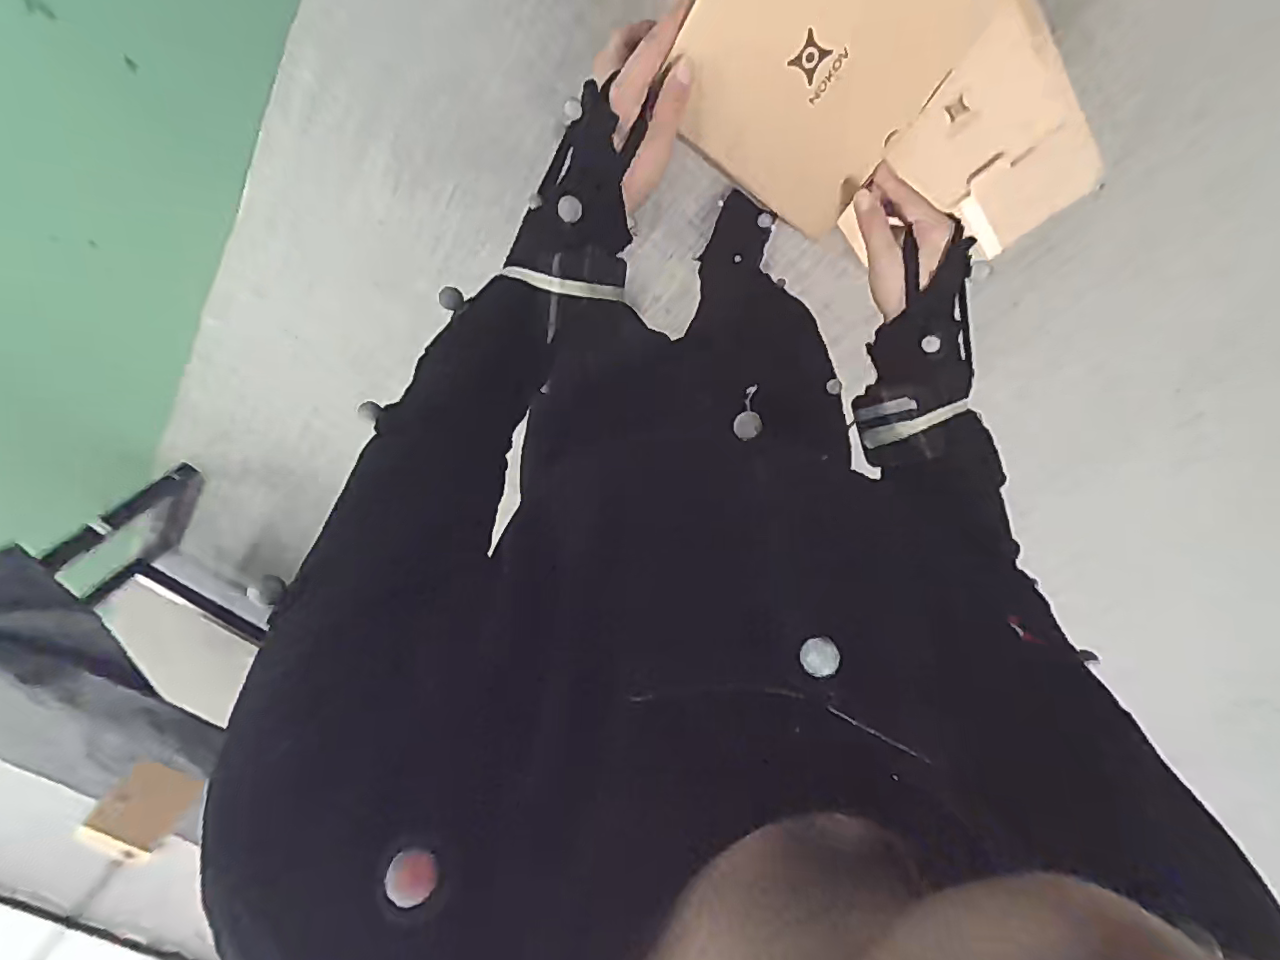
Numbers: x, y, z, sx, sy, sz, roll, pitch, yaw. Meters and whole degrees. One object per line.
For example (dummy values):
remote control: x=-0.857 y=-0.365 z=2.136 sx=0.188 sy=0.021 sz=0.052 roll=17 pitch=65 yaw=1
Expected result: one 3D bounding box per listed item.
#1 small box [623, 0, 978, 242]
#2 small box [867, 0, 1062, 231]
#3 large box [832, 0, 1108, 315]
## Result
small box: x=0.101 y=-0.323 z=0.423 sx=0.179 sy=0.176 sz=0.168 roll=24 pitch=121 yaw=-24
small box: x=0.367 y=-0.449 z=0.673 sx=0.168 sy=0.176 sz=0.179 roll=-33 pitch=112 yaw=26
large box: x=0.436 y=-0.560 z=0.883 sx=0.320 sy=0.320 sz=0.408 roll=-33 pitch=114 yaw=29
